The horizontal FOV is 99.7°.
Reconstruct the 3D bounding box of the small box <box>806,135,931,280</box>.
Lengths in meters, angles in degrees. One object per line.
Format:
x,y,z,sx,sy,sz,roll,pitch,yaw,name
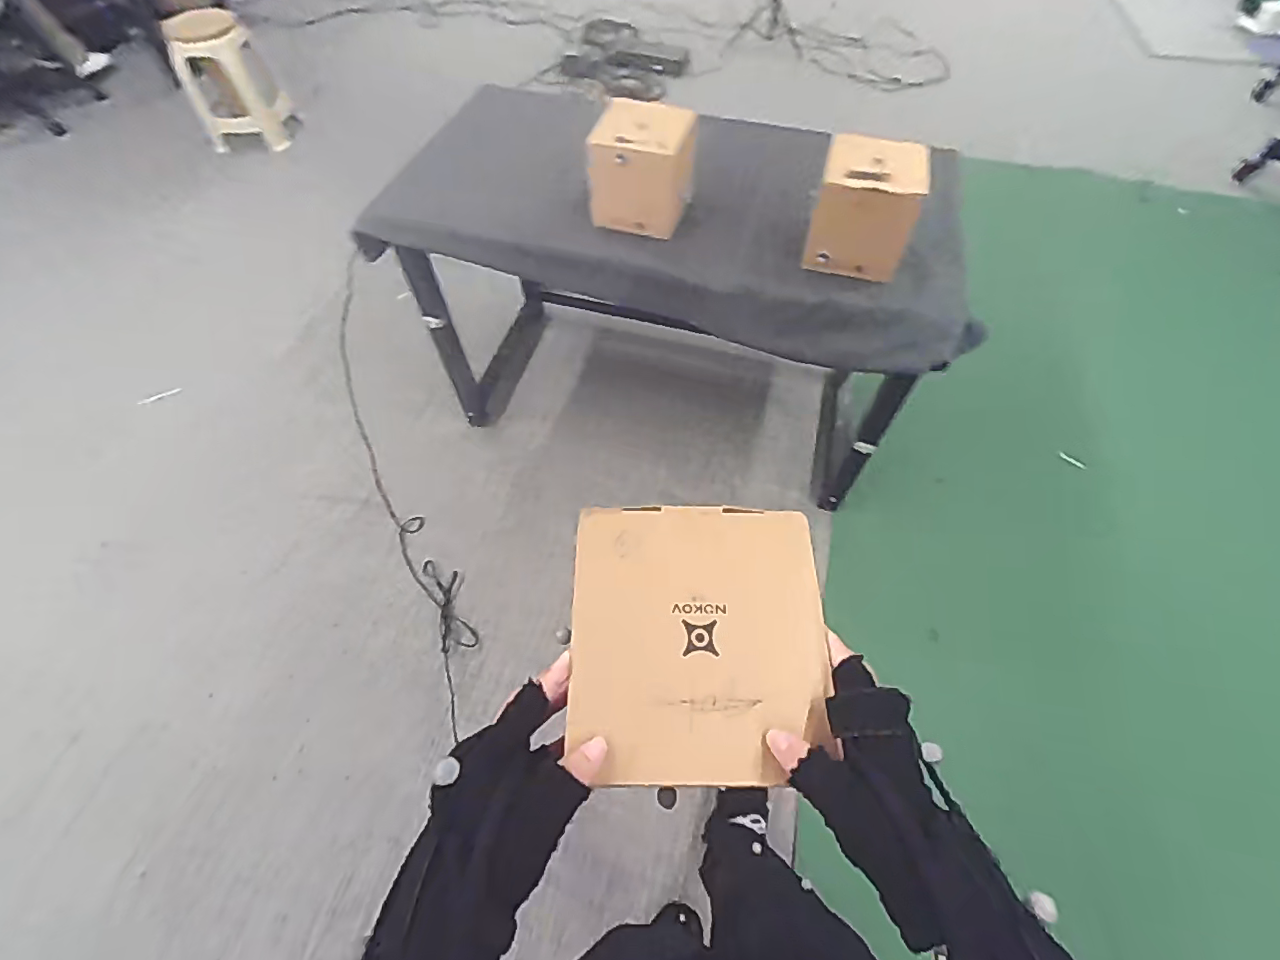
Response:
0.413,-0.497,0.995,0.168,0.176,0.179,15,57,9,small box

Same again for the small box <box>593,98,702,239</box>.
0.014,-0.611,1.065,0.168,0.176,0.179,15,58,9,small box

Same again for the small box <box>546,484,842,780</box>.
0.030,0.120,0.403,0.168,0.176,0.179,2,63,0,small box
